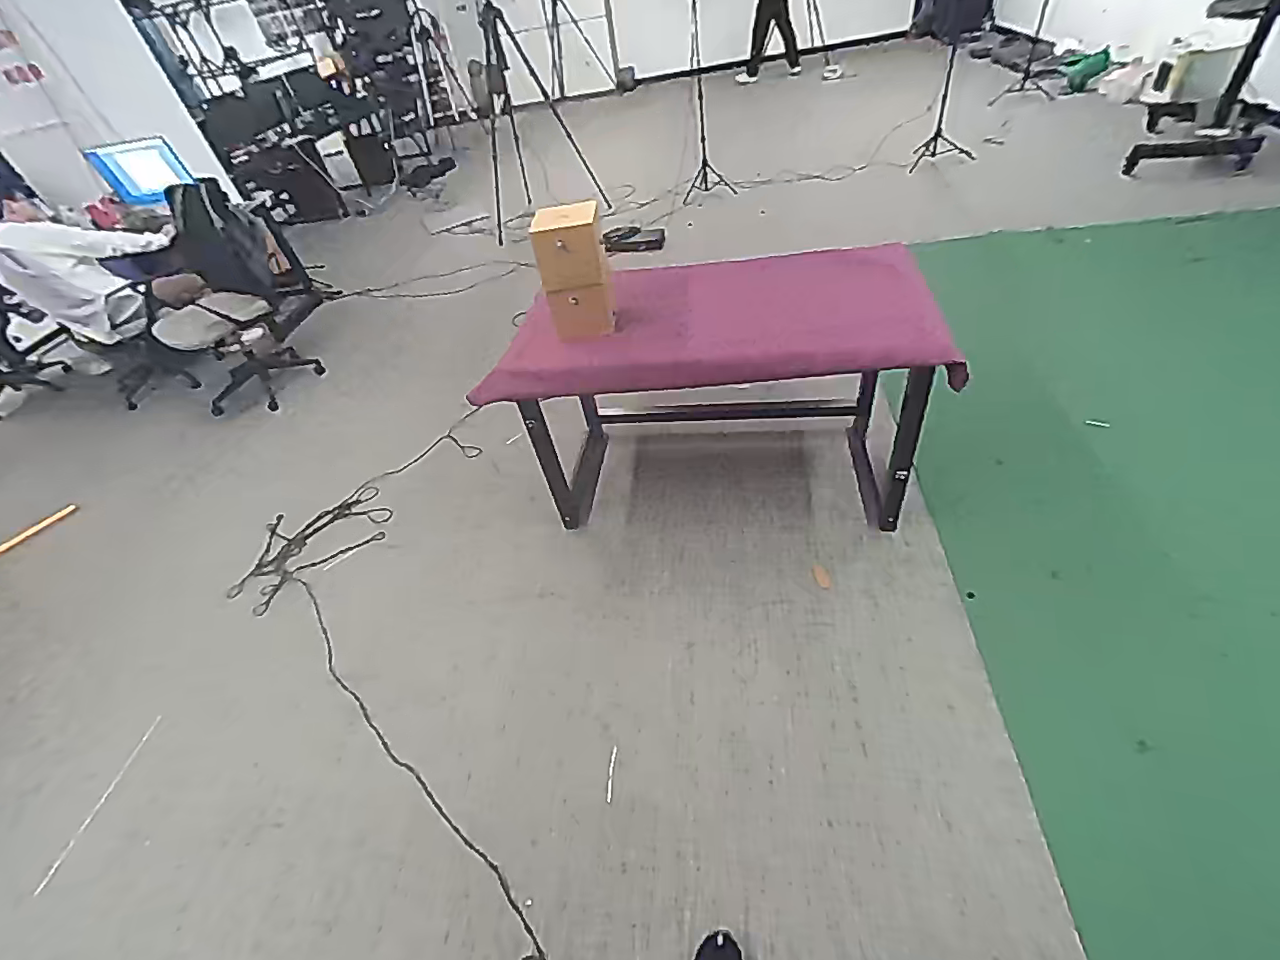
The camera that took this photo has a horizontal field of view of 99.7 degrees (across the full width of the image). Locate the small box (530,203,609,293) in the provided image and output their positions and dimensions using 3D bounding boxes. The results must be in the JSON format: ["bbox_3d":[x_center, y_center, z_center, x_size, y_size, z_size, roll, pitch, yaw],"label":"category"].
[{"bbox_3d":[-0.187,-0.644,1.508,0.179,0.176,0.168,-6,45,7],"label":"small box"}]

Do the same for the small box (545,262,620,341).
[{"bbox_3d":[-0.166,-0.532,1.623,0.179,0.176,0.168,-4,45,8],"label":"small box"}]
